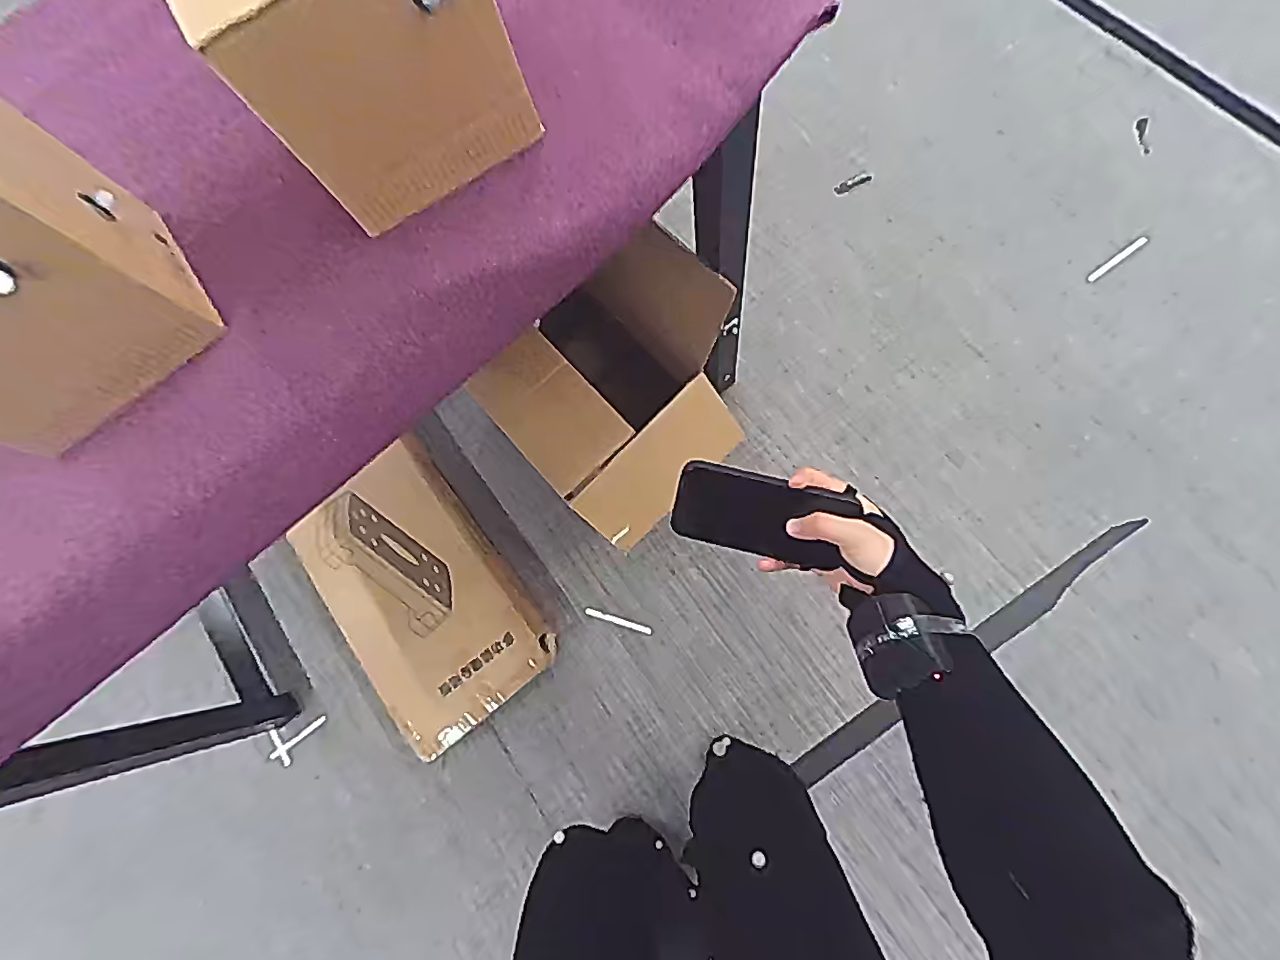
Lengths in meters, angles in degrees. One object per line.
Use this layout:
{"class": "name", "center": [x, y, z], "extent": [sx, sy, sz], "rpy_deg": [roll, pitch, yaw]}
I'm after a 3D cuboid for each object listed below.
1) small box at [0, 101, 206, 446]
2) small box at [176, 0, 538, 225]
{"class": "small box", "center": [-0.467, -0.154, 0.391], "extent": [0.179, 0.176, 0.168], "rpy_deg": [-39, 73, -3]}
{"class": "small box", "center": [-0.204, -0.334, 0.402], "extent": [0.179, 0.176, 0.168], "rpy_deg": [-32, 75, -1]}
